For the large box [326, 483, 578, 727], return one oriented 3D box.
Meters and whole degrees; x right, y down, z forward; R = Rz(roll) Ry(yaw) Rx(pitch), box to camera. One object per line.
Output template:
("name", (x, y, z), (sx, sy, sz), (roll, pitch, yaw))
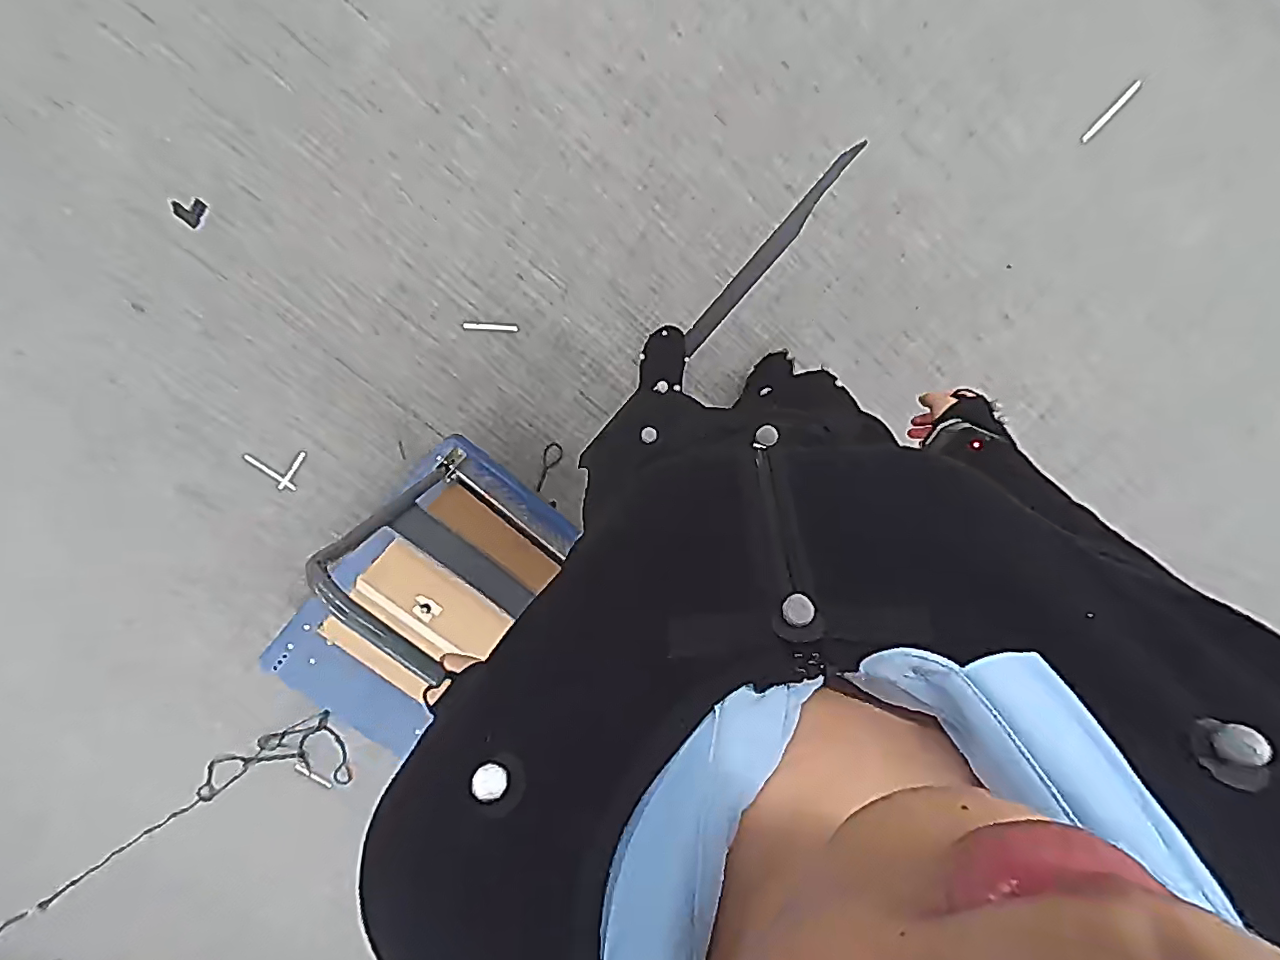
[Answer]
("large box", (-0.406, 0.276, 1.273), (0.408, 0.320, 0.320), (42, 102, -11))
